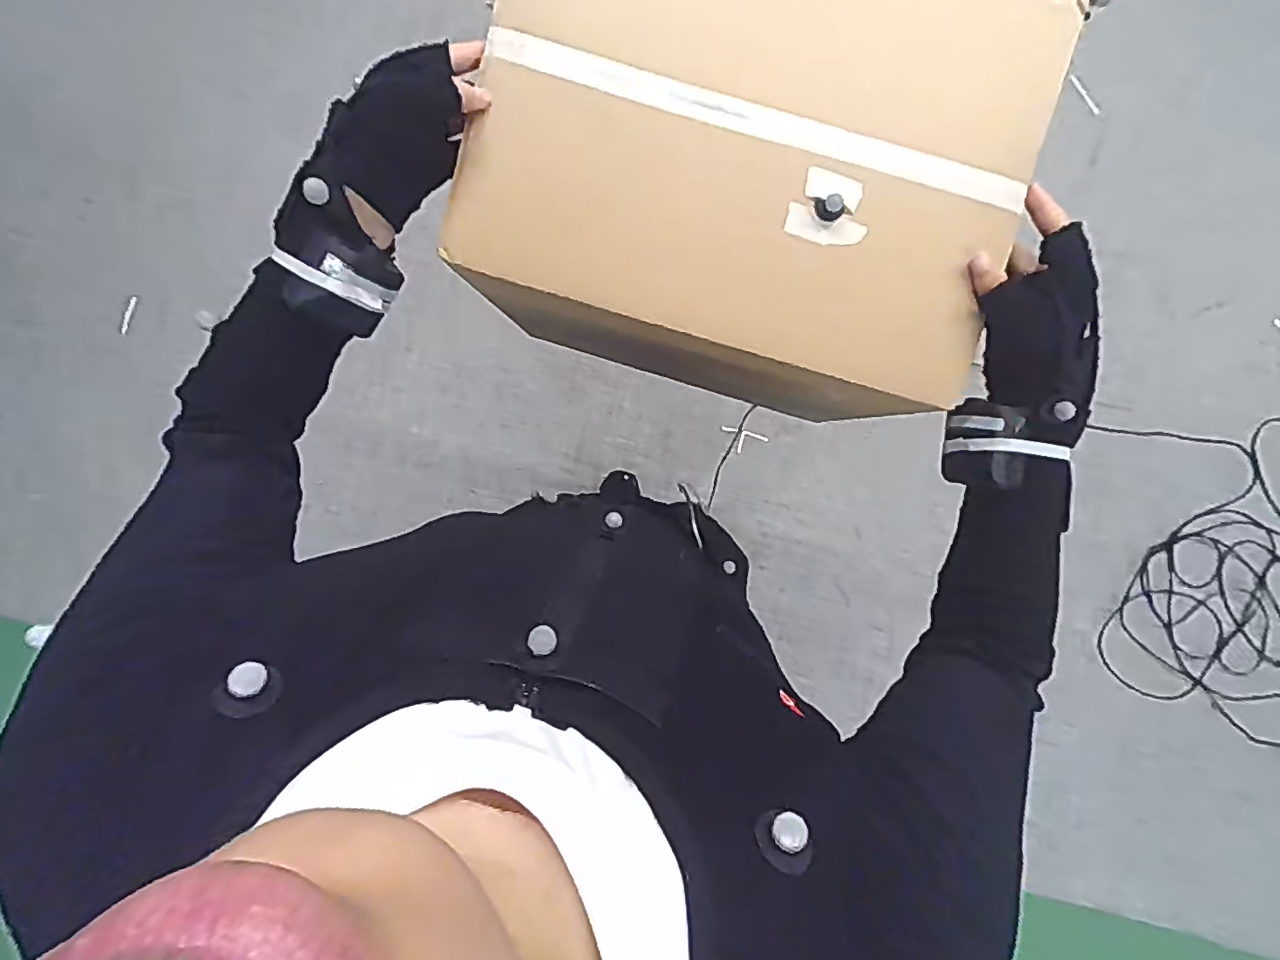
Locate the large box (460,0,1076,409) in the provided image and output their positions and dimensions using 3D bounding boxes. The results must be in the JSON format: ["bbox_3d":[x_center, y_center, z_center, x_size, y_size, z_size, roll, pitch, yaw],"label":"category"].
[{"bbox_3d":[0.090,-0.278,0.551,0.408,0.320,0.320,16,95,-1],"label":"large box"}]
